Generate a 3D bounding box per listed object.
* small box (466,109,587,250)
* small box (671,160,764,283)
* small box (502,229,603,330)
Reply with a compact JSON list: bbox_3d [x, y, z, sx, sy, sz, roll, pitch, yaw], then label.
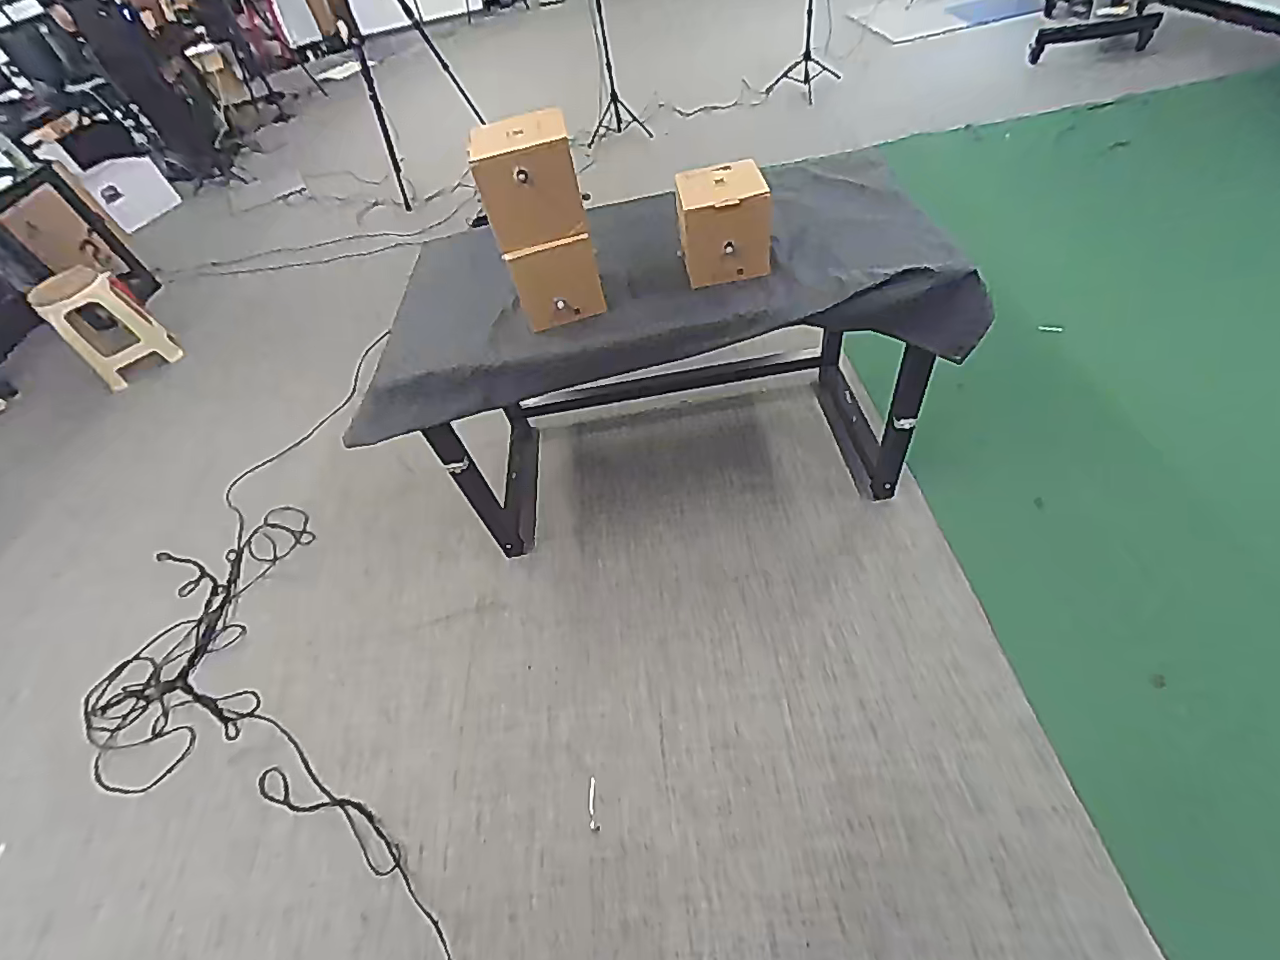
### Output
[{"bbox_3d":[-0.209,-0.558,1.014,0.179,0.176,0.168,-13,51,-1],"label":"small box"},{"bbox_3d":[0.163,-0.530,1.128,0.168,0.176,0.179,-9,50,5],"label":"small box"},{"bbox_3d":[-0.186,-0.443,1.128,0.168,0.176,0.179,-17,50,-2],"label":"small box"}]
